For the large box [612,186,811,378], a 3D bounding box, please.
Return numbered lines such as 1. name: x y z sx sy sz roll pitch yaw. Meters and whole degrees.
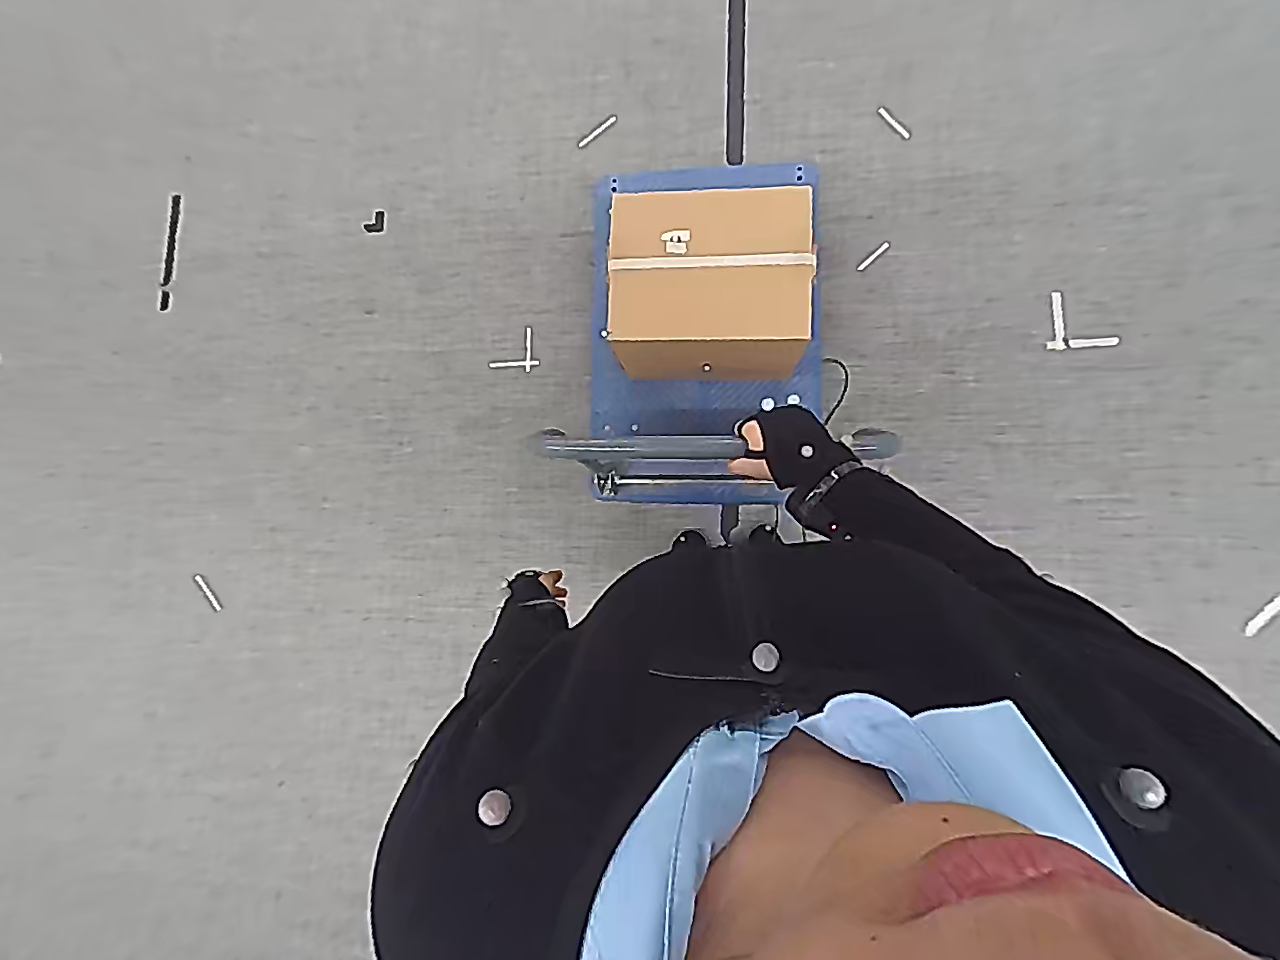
1. large box: 0.163 -0.425 1.245 0.408 0.320 0.320 1 85 8
